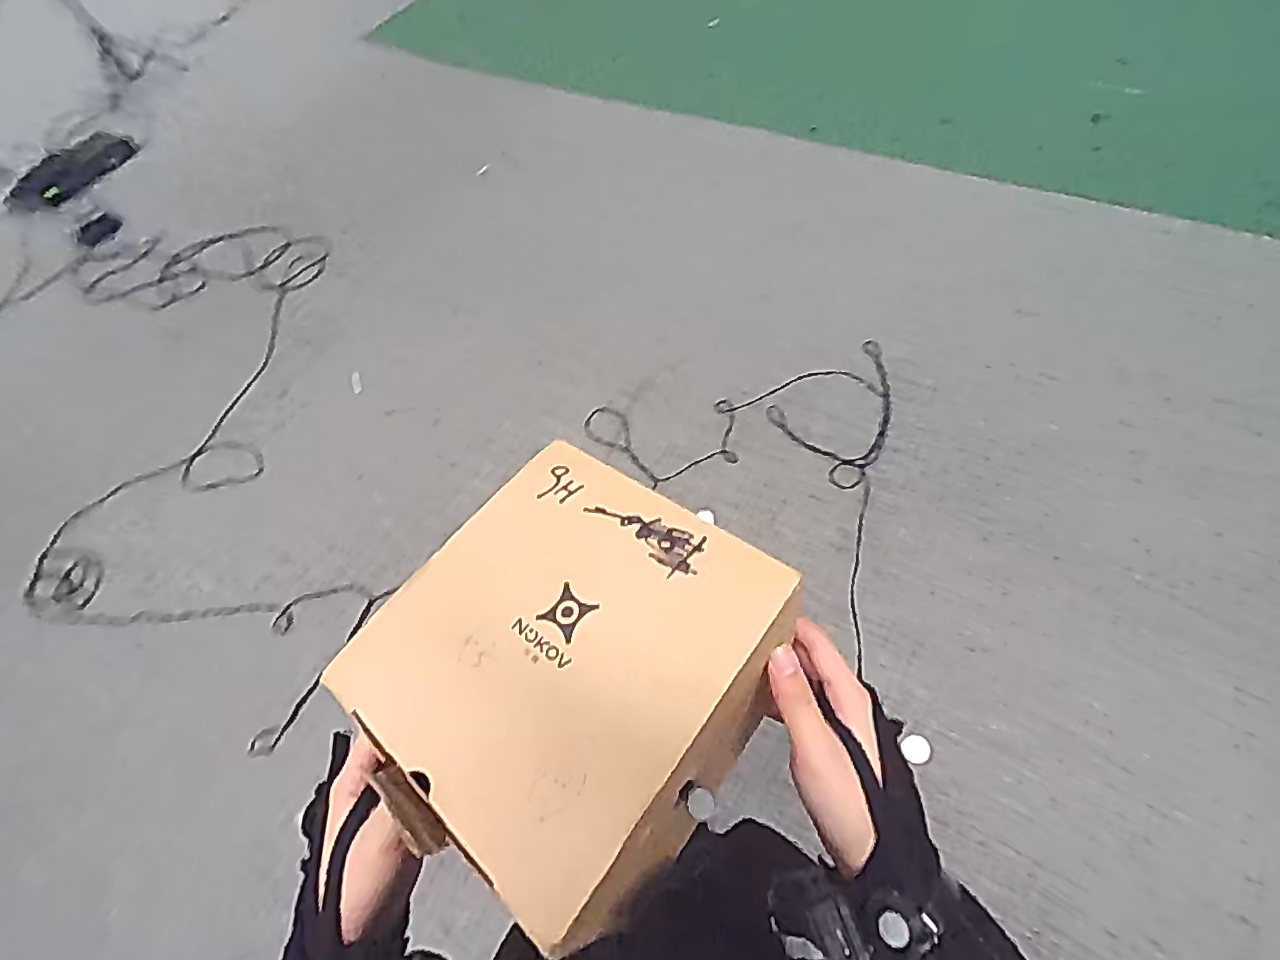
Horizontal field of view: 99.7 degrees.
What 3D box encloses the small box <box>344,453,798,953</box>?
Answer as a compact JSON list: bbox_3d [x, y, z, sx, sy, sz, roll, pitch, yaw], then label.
[{"bbox_3d":[-0.022,0.123,0.327,0.168,0.176,0.179,30,66,28],"label":"small box"}]
